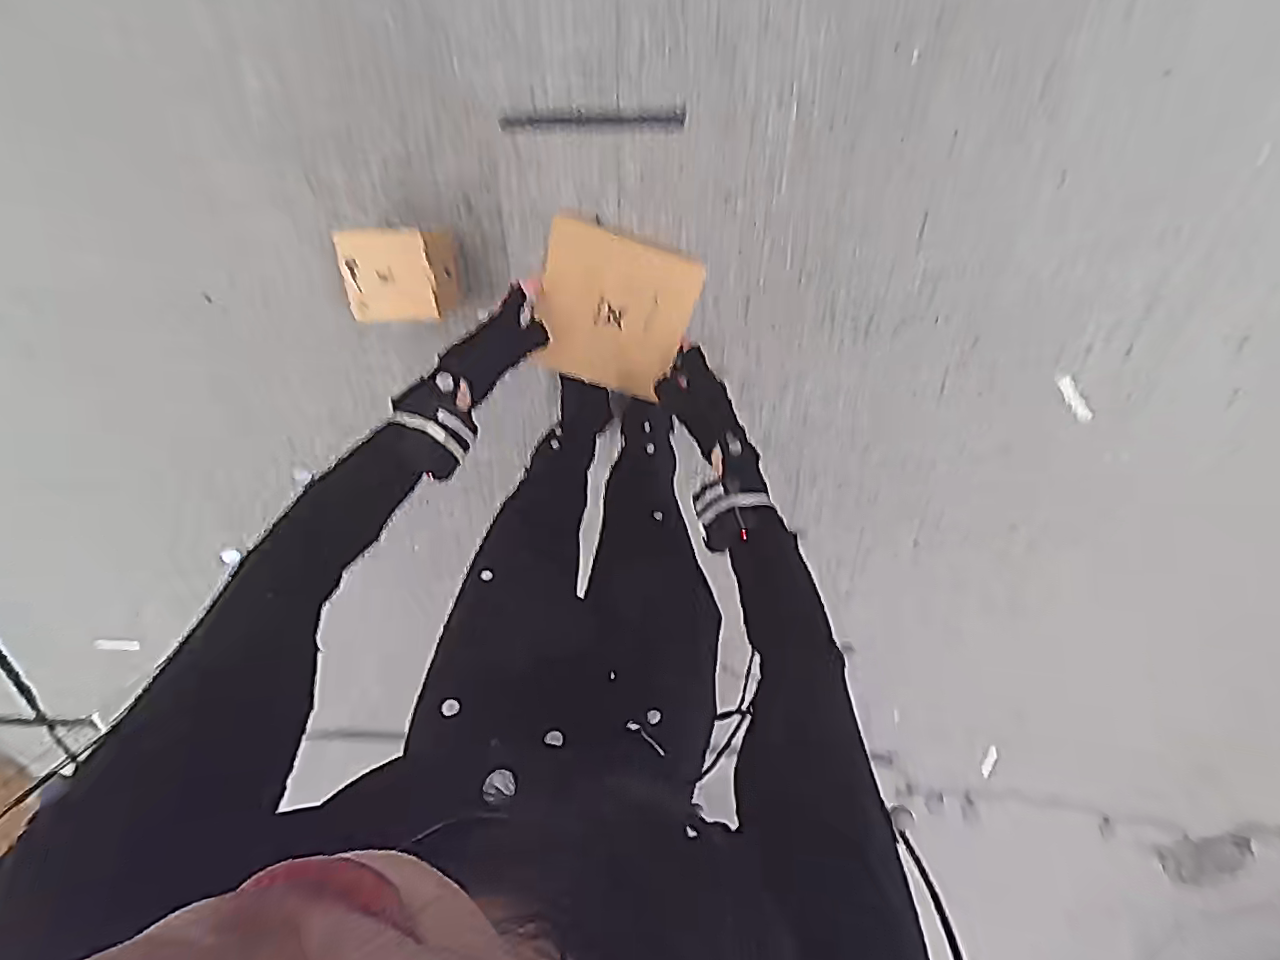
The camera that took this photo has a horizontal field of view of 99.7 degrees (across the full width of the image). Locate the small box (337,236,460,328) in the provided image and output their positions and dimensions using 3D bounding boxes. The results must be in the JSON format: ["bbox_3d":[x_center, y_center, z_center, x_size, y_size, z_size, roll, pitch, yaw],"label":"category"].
[{"bbox_3d":[-0.489,-0.418,1.131,0.179,0.176,0.168,0,117,1],"label":"small box"}]

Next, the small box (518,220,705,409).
[{"bbox_3d":[-0.038,-0.213,0.679,0.179,0.176,0.168,15,117,-10],"label":"small box"}]
